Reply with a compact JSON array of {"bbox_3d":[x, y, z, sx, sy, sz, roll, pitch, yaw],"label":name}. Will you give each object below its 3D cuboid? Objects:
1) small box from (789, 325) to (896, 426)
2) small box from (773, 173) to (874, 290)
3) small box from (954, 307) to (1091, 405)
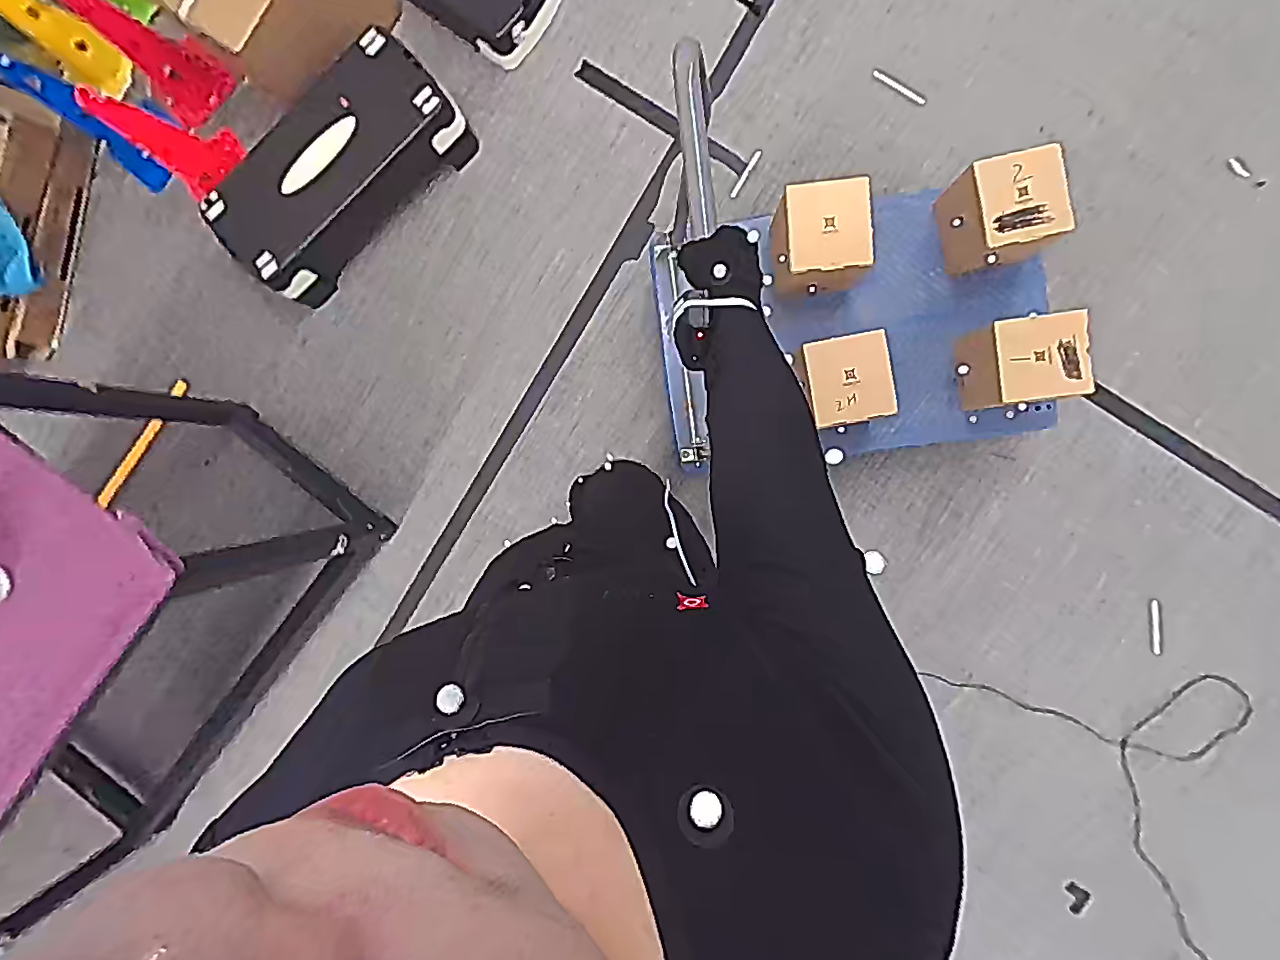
[{"bbox_3d":[0.430,-0.219,1.174,0.168,0.176,0.179,-10,92,4],"label":"small box"},{"bbox_3d":[0.387,-0.525,1.163,0.168,0.176,0.179,-5,94,3],"label":"small box"},{"bbox_3d":[0.801,-0.255,1.147,0.179,0.176,0.168,-6,92,5],"label":"small box"}]
